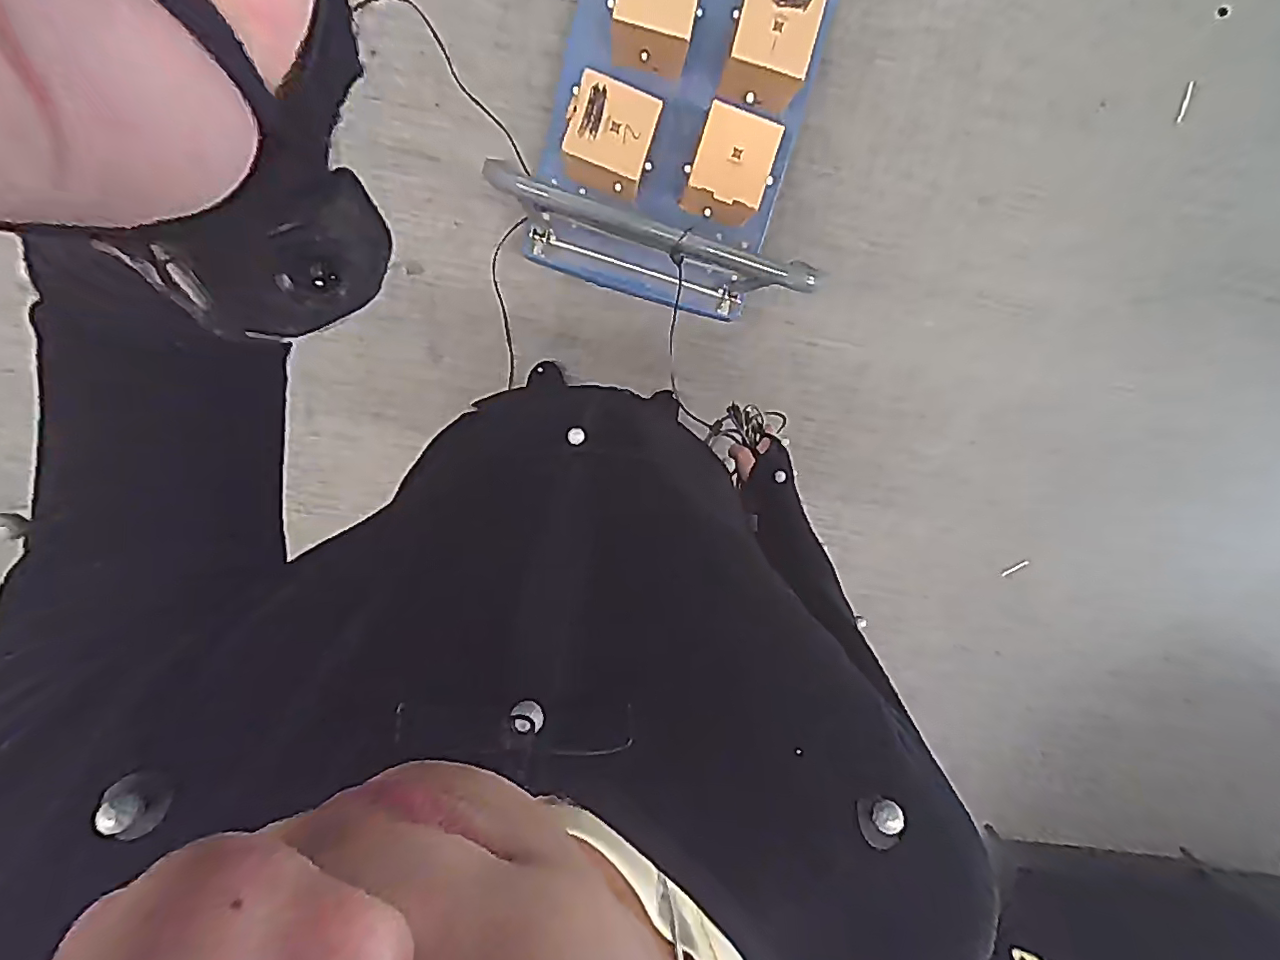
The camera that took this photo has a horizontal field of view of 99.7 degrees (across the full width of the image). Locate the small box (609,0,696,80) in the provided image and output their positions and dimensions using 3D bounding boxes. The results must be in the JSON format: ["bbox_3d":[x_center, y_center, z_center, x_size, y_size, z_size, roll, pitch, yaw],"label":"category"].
[{"bbox_3d":[0.030,-1.011,1.165,0.168,0.176,0.179,11,101,-7],"label":"small box"}]

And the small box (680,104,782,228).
[{"bbox_3d":[0.198,-0.708,1.242,0.168,0.176,0.179,16,101,-7],"label":"small box"}]

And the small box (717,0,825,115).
[{"bbox_3d":[0.280,-0.954,1.192,0.168,0.176,0.179,13,102,-6],"label":"small box"}]
